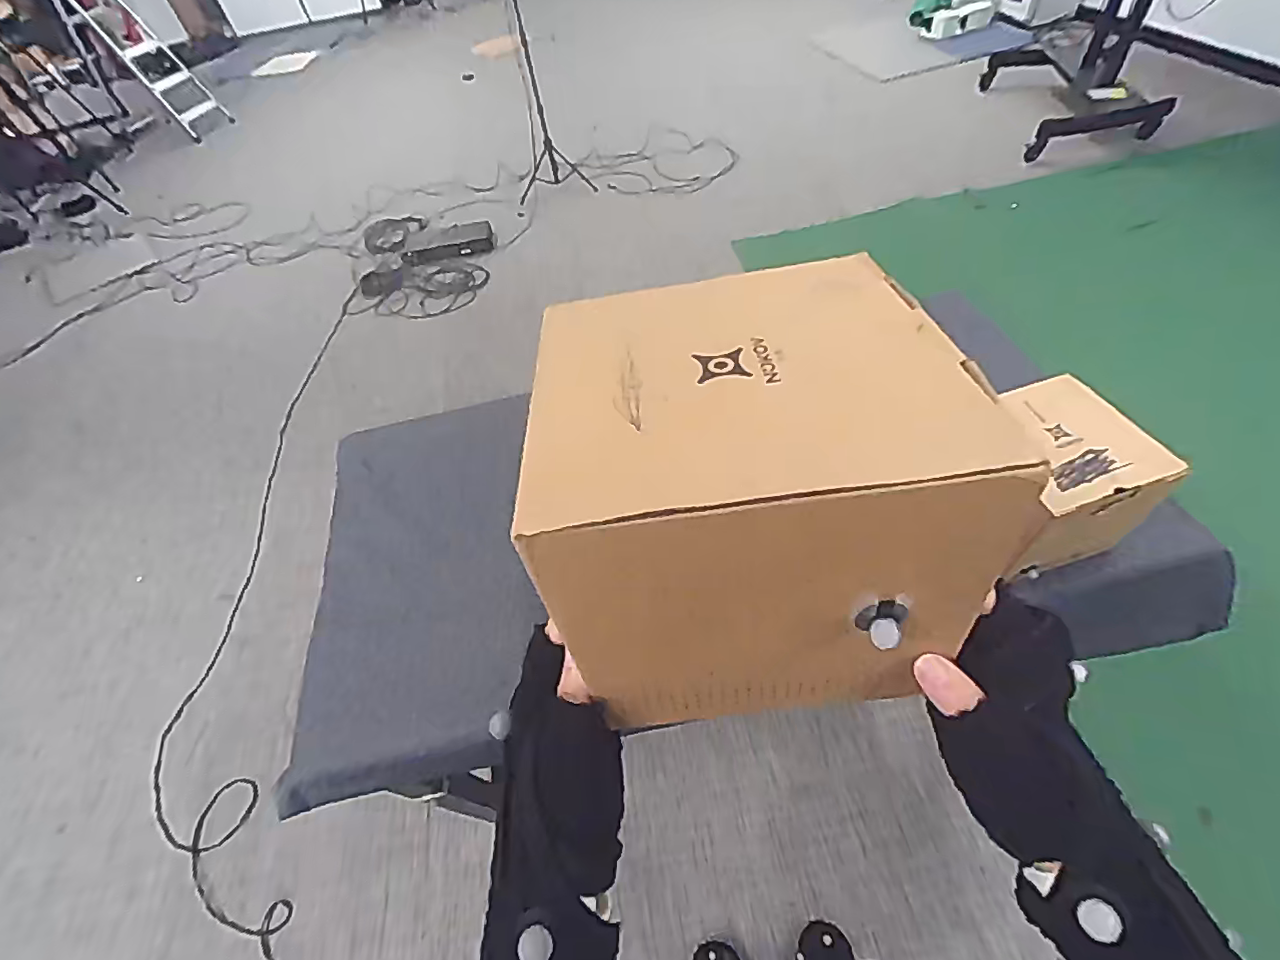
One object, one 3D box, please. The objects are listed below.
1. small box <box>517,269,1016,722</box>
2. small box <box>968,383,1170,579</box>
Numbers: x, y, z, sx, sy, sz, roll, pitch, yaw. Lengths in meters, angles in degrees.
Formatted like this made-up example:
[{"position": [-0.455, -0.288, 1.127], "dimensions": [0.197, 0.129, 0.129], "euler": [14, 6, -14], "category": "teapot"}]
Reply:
[{"position": [0.050, 0.012, 0.297], "dimensions": [0.179, 0.176, 0.168], "euler": [-9, 43, 4], "category": "small box"}, {"position": [0.498, 0.009, 0.705], "dimensions": [0.168, 0.176, 0.179], "euler": [-16, 50, -4], "category": "small box"}]
